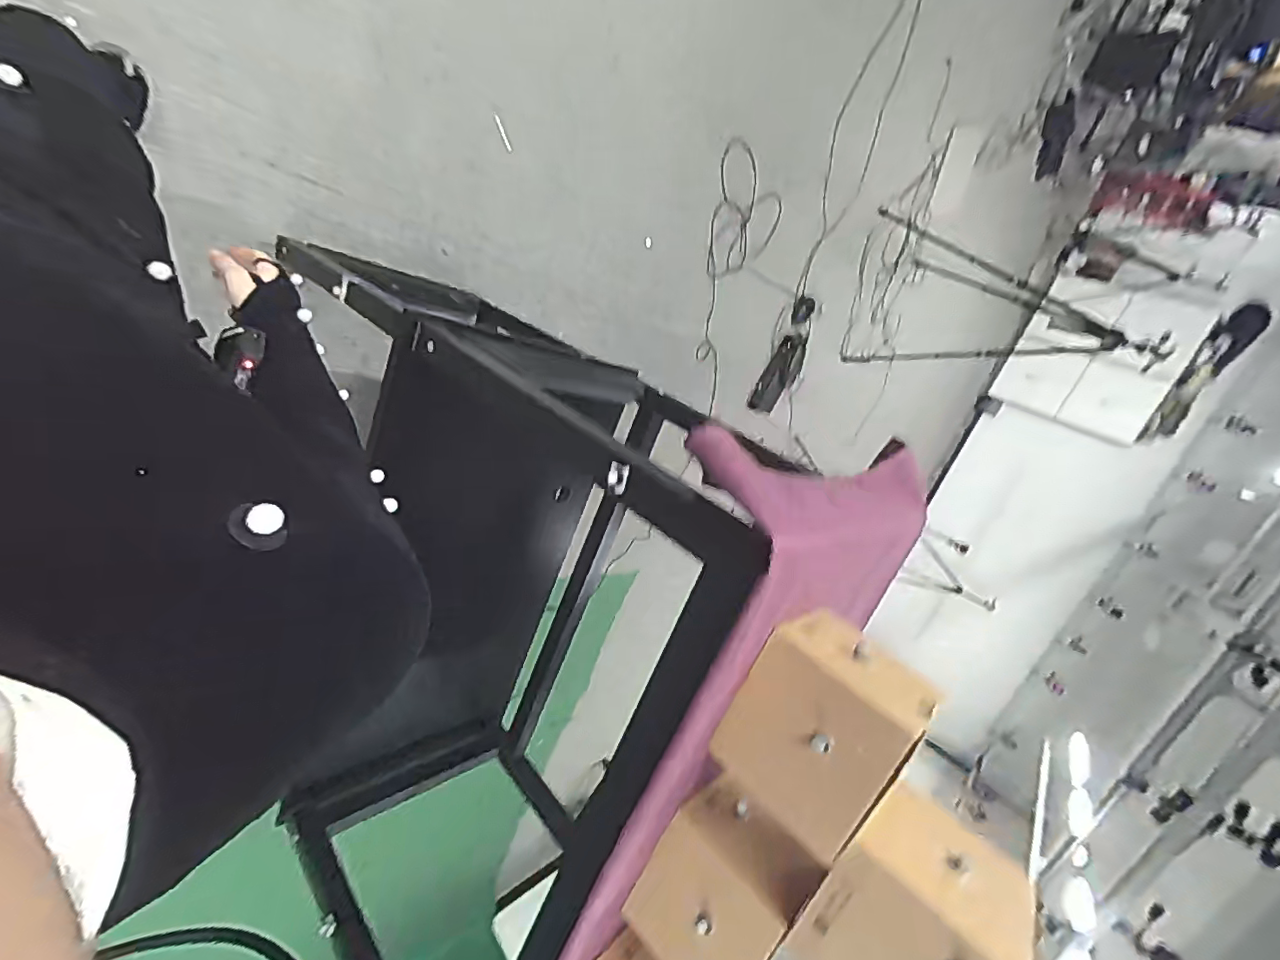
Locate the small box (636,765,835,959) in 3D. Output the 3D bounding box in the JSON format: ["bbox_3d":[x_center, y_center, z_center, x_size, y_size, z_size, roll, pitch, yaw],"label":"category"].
[{"bbox_3d":[0.119,0.523,0.711,0.168,0.176,0.179,7,110,-54],"label":"small box"}]

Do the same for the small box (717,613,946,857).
[{"bbox_3d":[0.219,0.273,0.632,0.168,0.176,0.179,6,114,-52],"label":"small box"}]
